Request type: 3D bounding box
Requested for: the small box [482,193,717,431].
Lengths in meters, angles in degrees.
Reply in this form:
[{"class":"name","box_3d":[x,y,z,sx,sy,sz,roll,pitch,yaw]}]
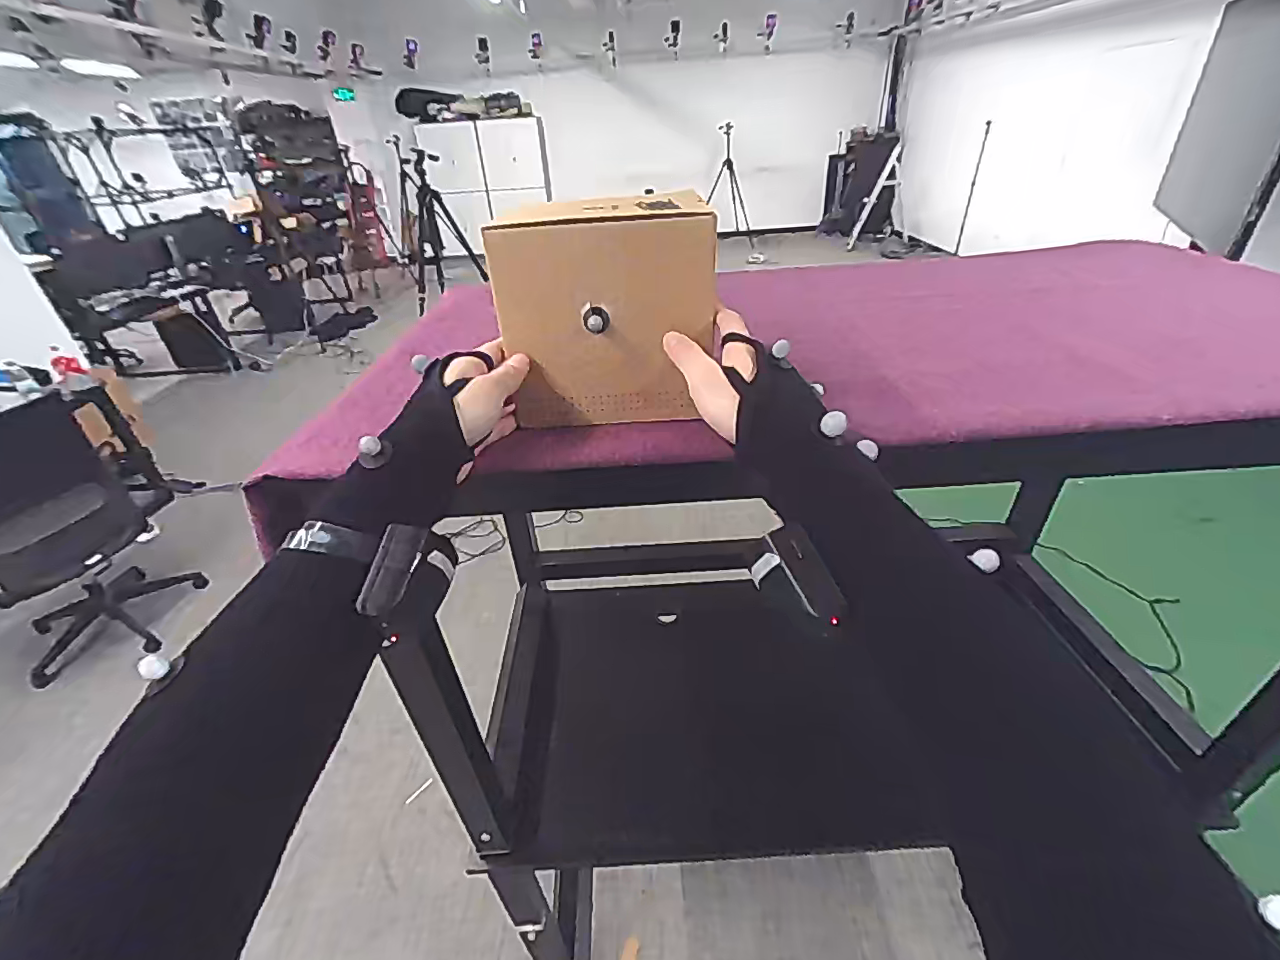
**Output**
[{"class":"small box","box_3d":[-0.024,-0.158,0.504,0.179,0.176,0.168,-4,32,3]}]
